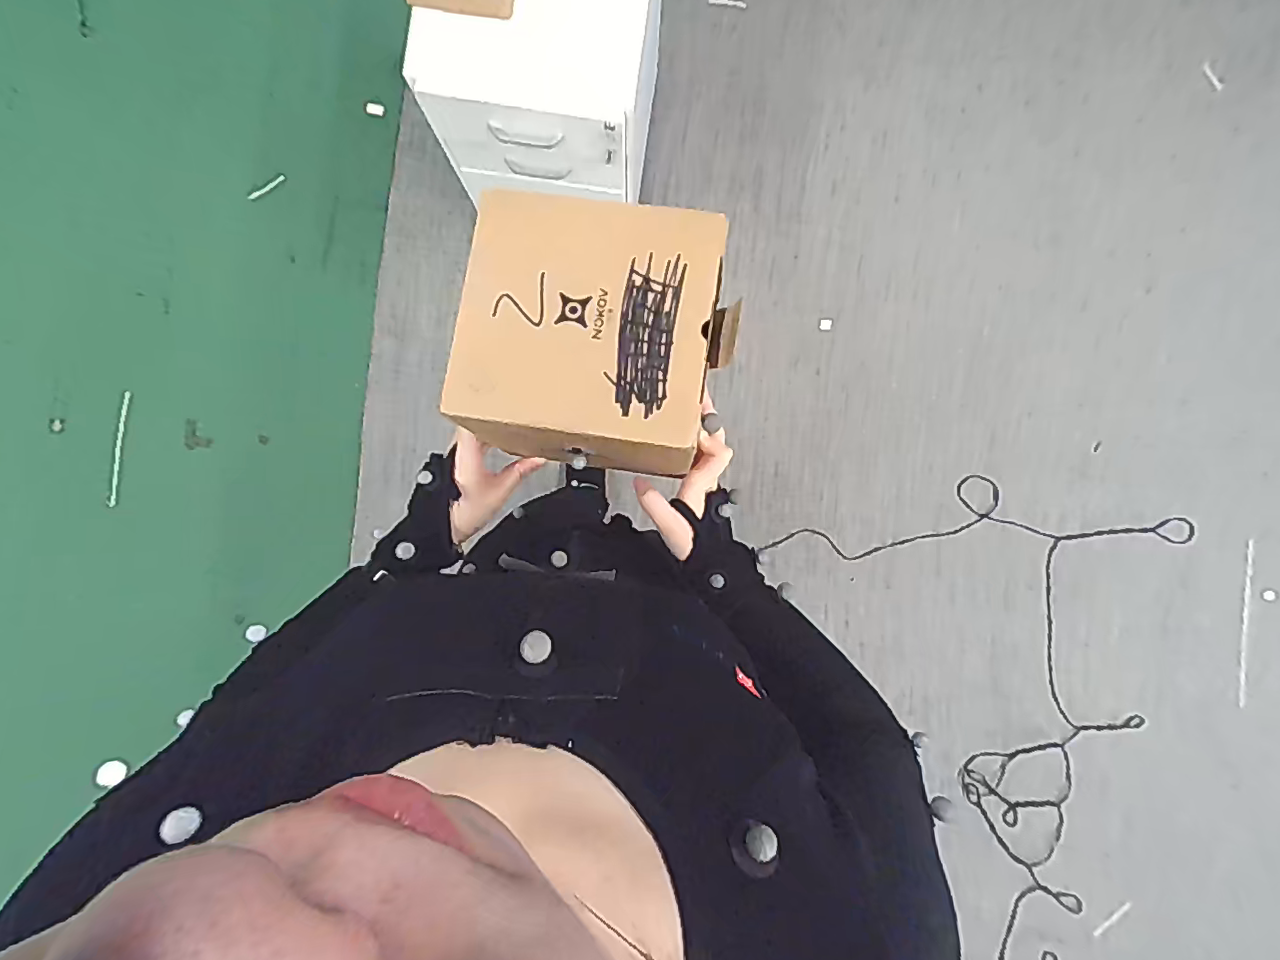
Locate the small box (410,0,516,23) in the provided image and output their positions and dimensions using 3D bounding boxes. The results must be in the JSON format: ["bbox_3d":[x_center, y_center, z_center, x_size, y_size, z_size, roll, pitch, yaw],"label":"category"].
[{"bbox_3d":[-0.292,-0.868,0.844,0.179,0.176,0.168,7,88,-2],"label":"small box"}]
